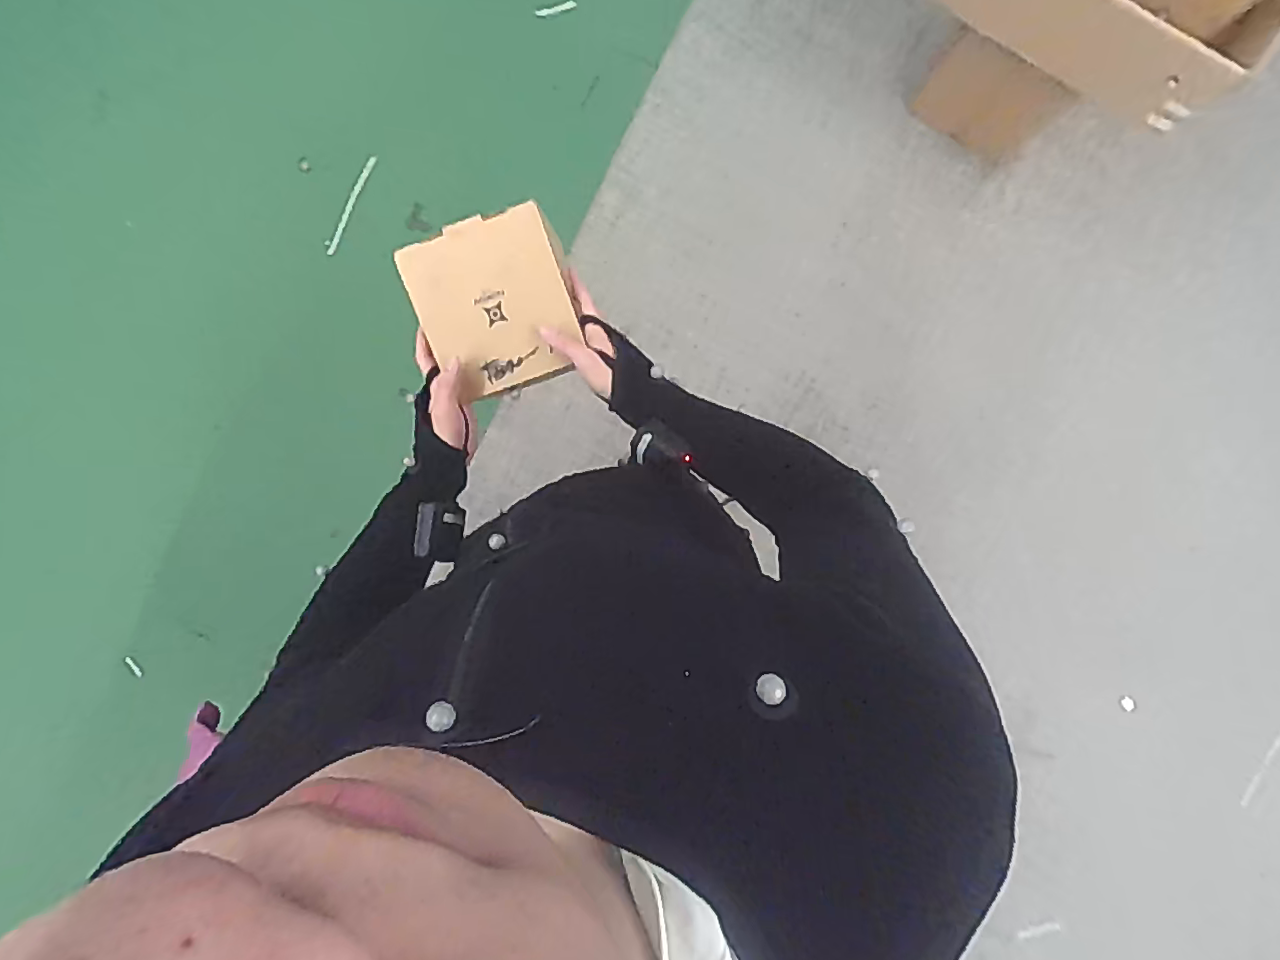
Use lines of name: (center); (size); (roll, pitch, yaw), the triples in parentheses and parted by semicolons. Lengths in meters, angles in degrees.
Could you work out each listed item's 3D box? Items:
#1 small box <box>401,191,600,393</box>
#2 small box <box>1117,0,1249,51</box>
small box: (-0.153, -0.214, 0.659); (0.168, 0.176, 0.179); (-17, 102, 3)
small box: (1.070, -0.978, 1.016); (0.168, 0.176, 0.179); (33, 95, -1)
